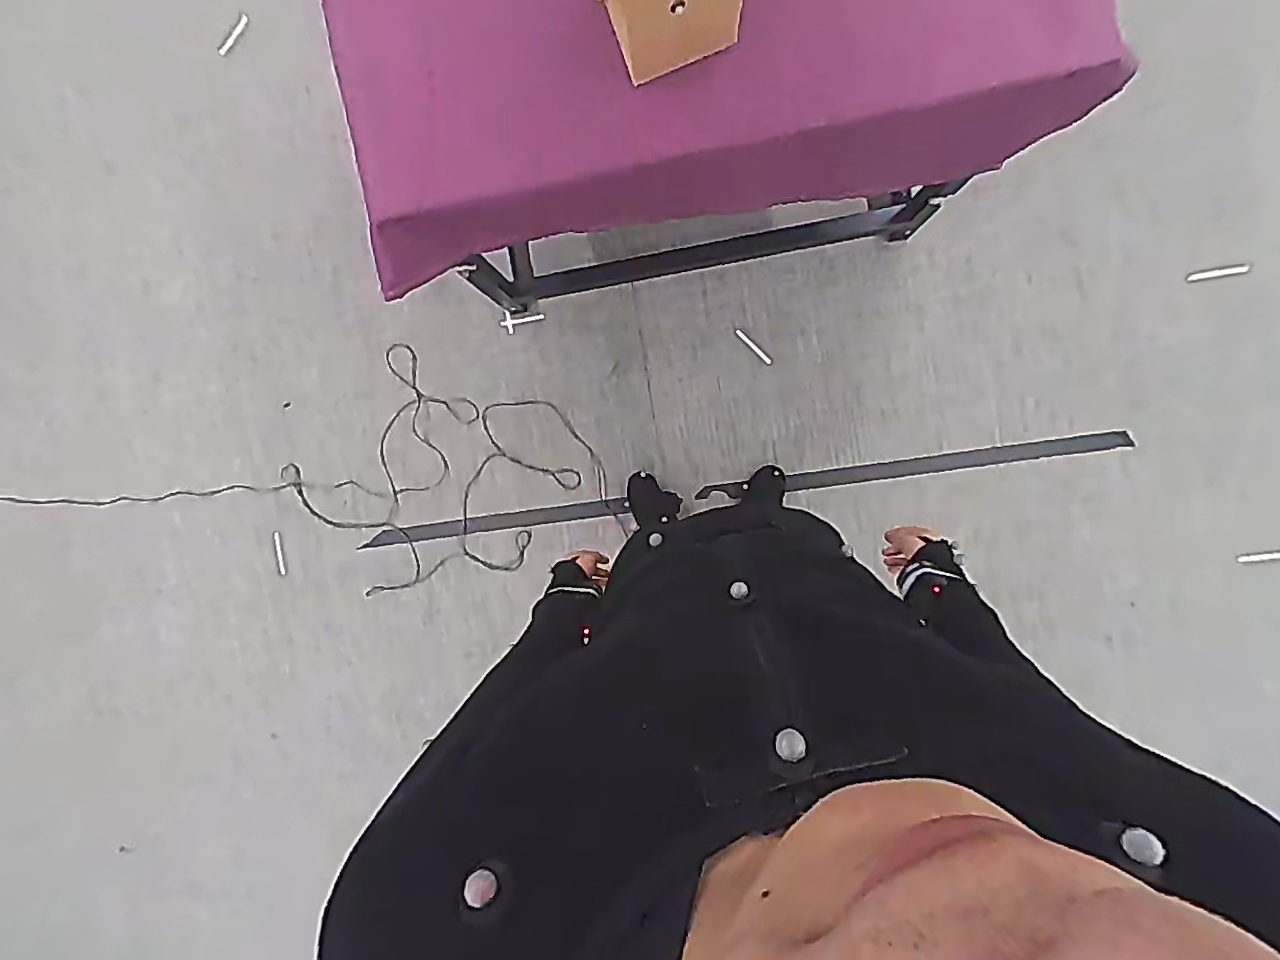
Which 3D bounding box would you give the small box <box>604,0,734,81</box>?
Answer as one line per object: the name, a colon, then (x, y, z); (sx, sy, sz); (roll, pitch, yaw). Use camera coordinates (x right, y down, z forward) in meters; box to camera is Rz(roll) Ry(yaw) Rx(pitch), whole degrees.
small box: (0.035, -0.735, 0.785); (0.179, 0.176, 0.168); (-20, 92, 4)
